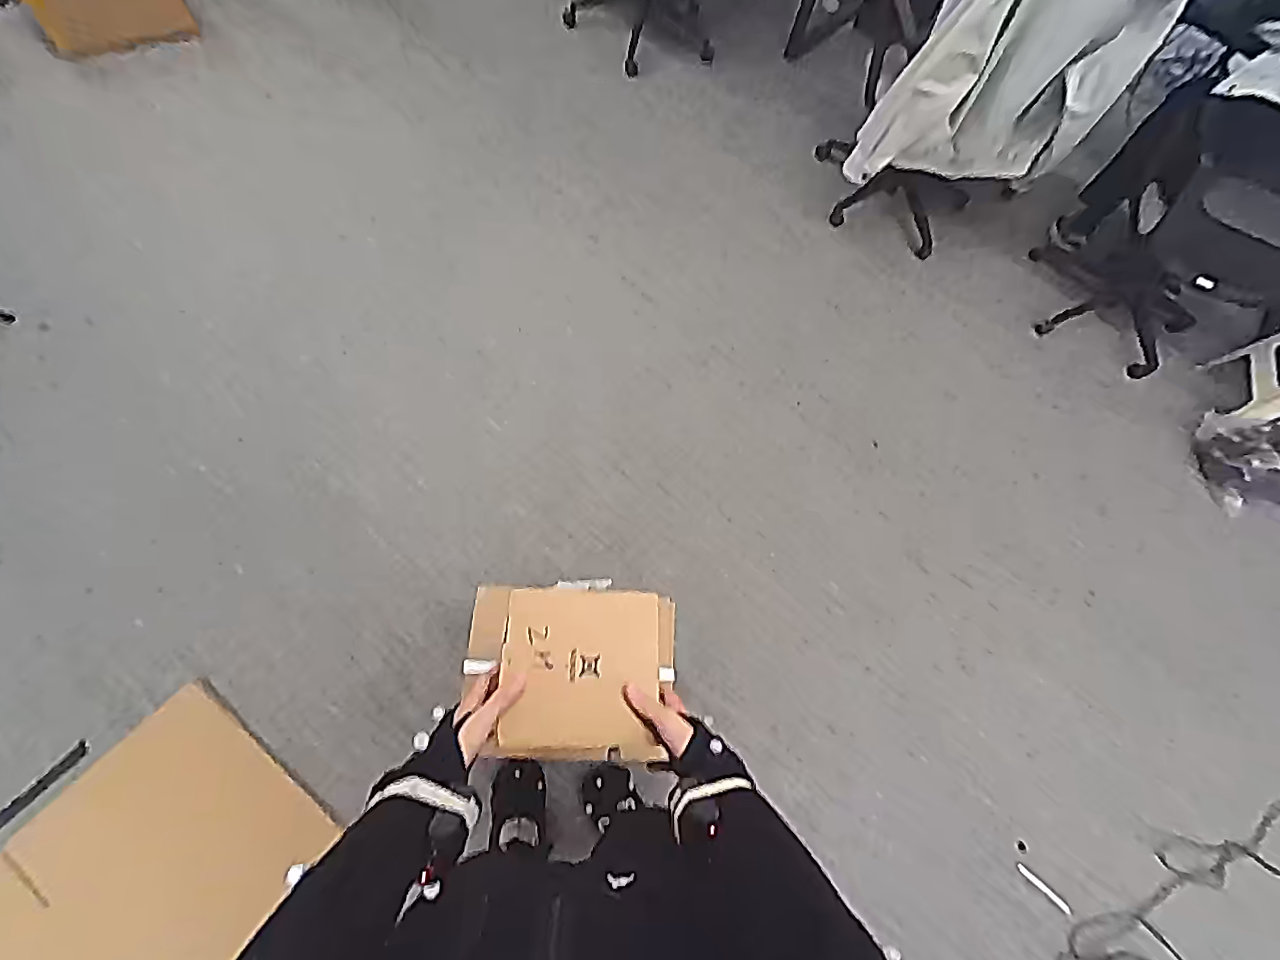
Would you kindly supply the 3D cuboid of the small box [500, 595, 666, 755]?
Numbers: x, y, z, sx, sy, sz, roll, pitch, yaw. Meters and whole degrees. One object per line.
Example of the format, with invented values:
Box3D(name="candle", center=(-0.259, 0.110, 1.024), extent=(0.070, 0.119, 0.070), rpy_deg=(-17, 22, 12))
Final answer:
Box3D(name="small box", center=(-0.070, 0.242, 0.670), extent=(0.179, 0.176, 0.168), rpy_deg=(3, 67, -7))
